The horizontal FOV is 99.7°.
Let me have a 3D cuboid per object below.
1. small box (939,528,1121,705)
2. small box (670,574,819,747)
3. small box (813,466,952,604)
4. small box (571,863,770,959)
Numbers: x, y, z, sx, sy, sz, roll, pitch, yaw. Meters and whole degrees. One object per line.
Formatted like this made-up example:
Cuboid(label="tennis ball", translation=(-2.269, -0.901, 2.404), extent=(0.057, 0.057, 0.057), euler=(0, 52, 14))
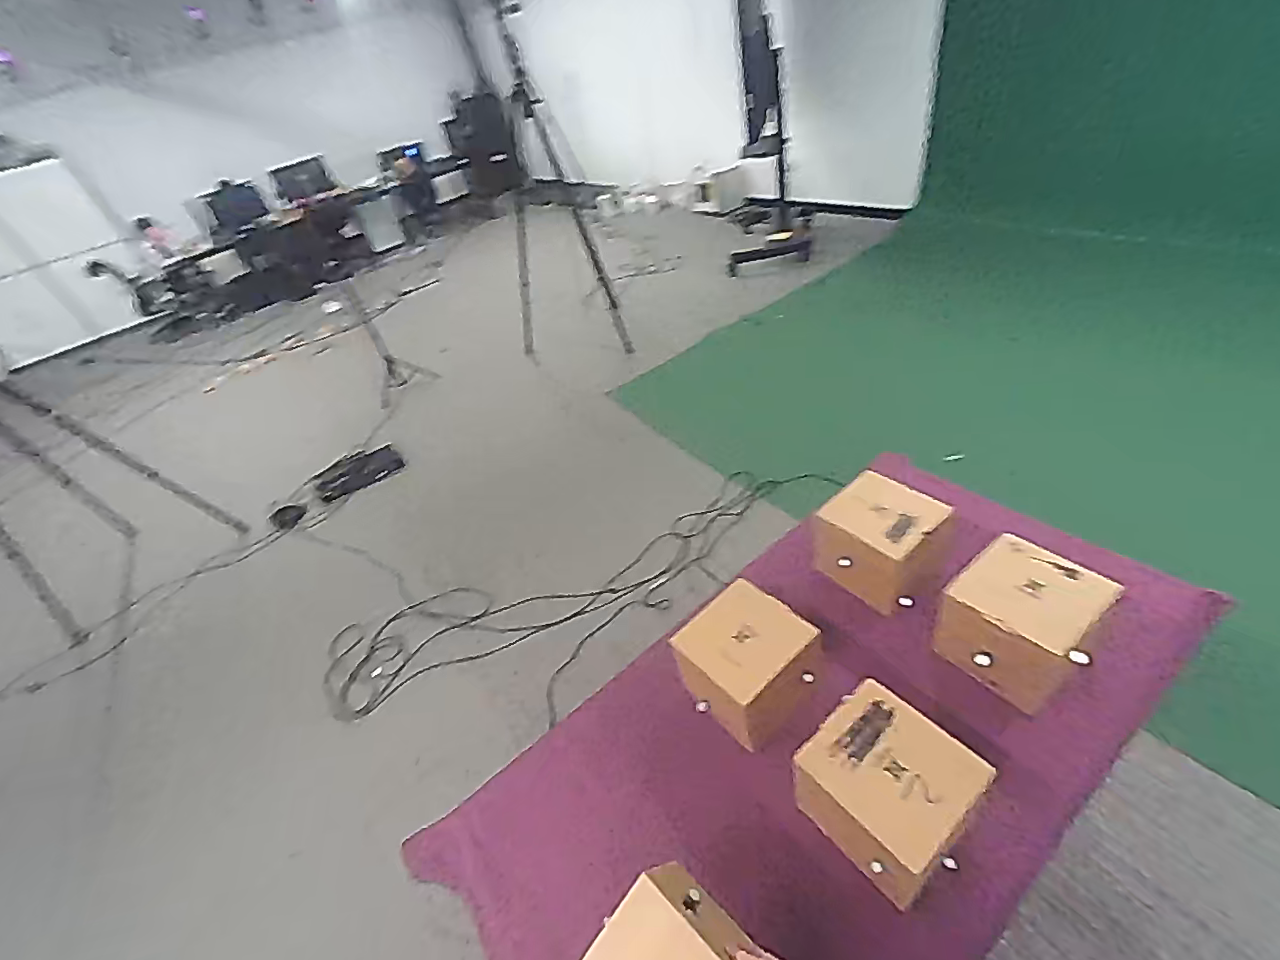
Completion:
Cuboid(label="small box", translation=(0.601, 0.216, 0.856), extent=(0.179, 0.176, 0.168), euler=(-34, 42, -19))
Cuboid(label="small box", translation=(0.177, 0.299, 0.904), extent=(0.179, 0.176, 0.168), euler=(-36, 43, -21))
Cuboid(label="small box", translation=(0.454, 0.109, 1.030), extent=(0.168, 0.176, 0.179), euler=(-34, 42, -20))
Cuboid(label="small box", translation=(0.028, 0.497, 0.504), extent=(0.179, 0.176, 0.168), euler=(34, 75, 29))
